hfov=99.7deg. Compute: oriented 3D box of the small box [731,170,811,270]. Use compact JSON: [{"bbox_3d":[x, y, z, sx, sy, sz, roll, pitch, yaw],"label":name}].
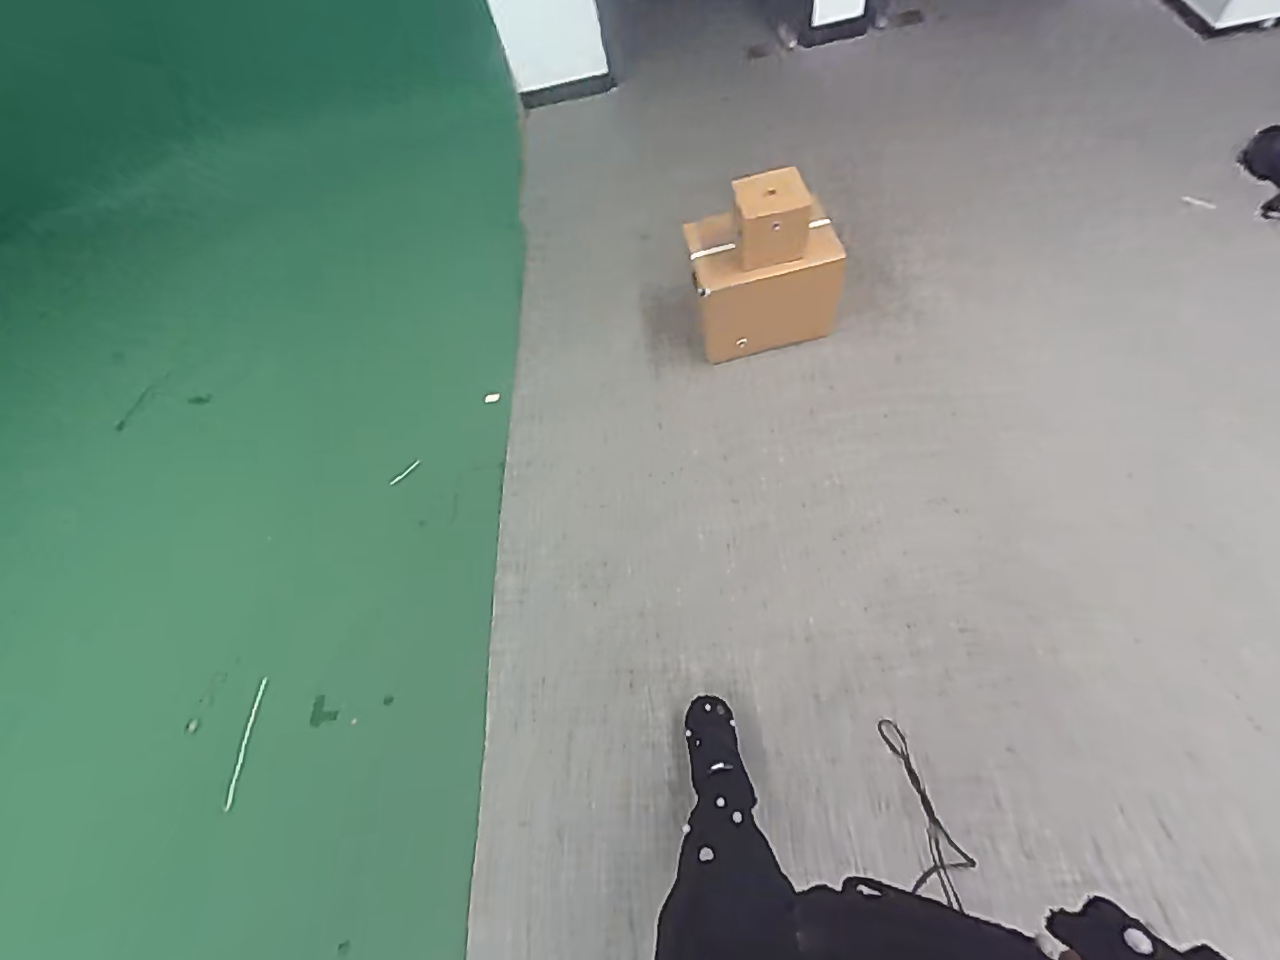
[{"bbox_3d":[0.349,-0.698,1.467,0.179,0.176,0.168,-11,62,3],"label":"small box"}]
